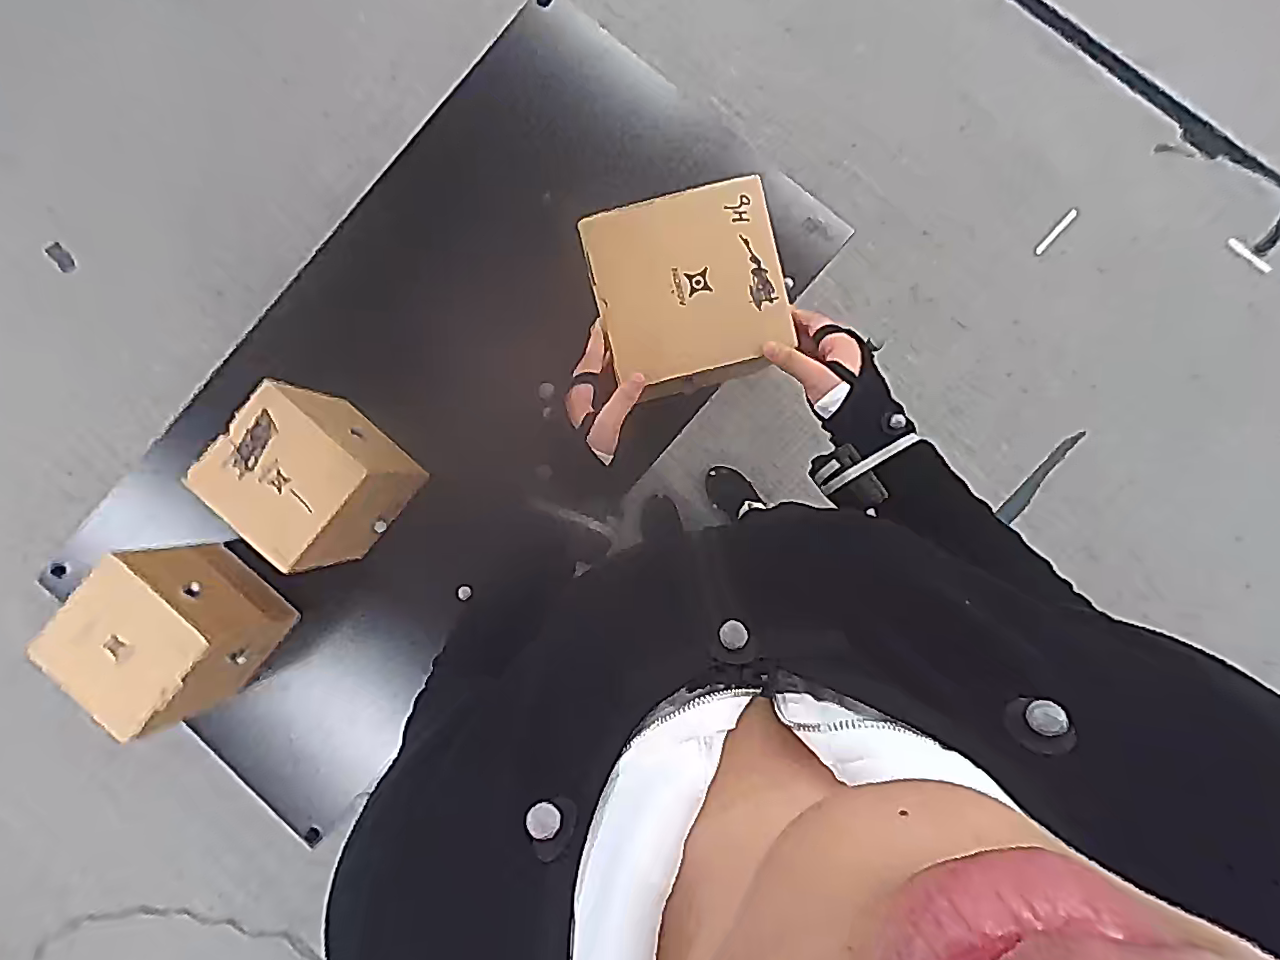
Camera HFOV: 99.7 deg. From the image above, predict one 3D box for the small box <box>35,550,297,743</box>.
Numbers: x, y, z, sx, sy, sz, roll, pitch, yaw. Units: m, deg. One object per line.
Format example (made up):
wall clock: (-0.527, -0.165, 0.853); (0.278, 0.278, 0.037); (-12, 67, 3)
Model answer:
small box: (-0.629, 0.210, 0.743); (0.179, 0.176, 0.168); (39, 90, 4)

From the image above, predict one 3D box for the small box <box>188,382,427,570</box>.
small box: (-0.435, -0.002, 0.737); (0.179, 0.176, 0.168); (40, 91, 3)

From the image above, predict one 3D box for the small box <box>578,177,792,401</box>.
small box: (0.045, -0.188, 0.588); (0.179, 0.176, 0.168); (-13, 93, 2)
